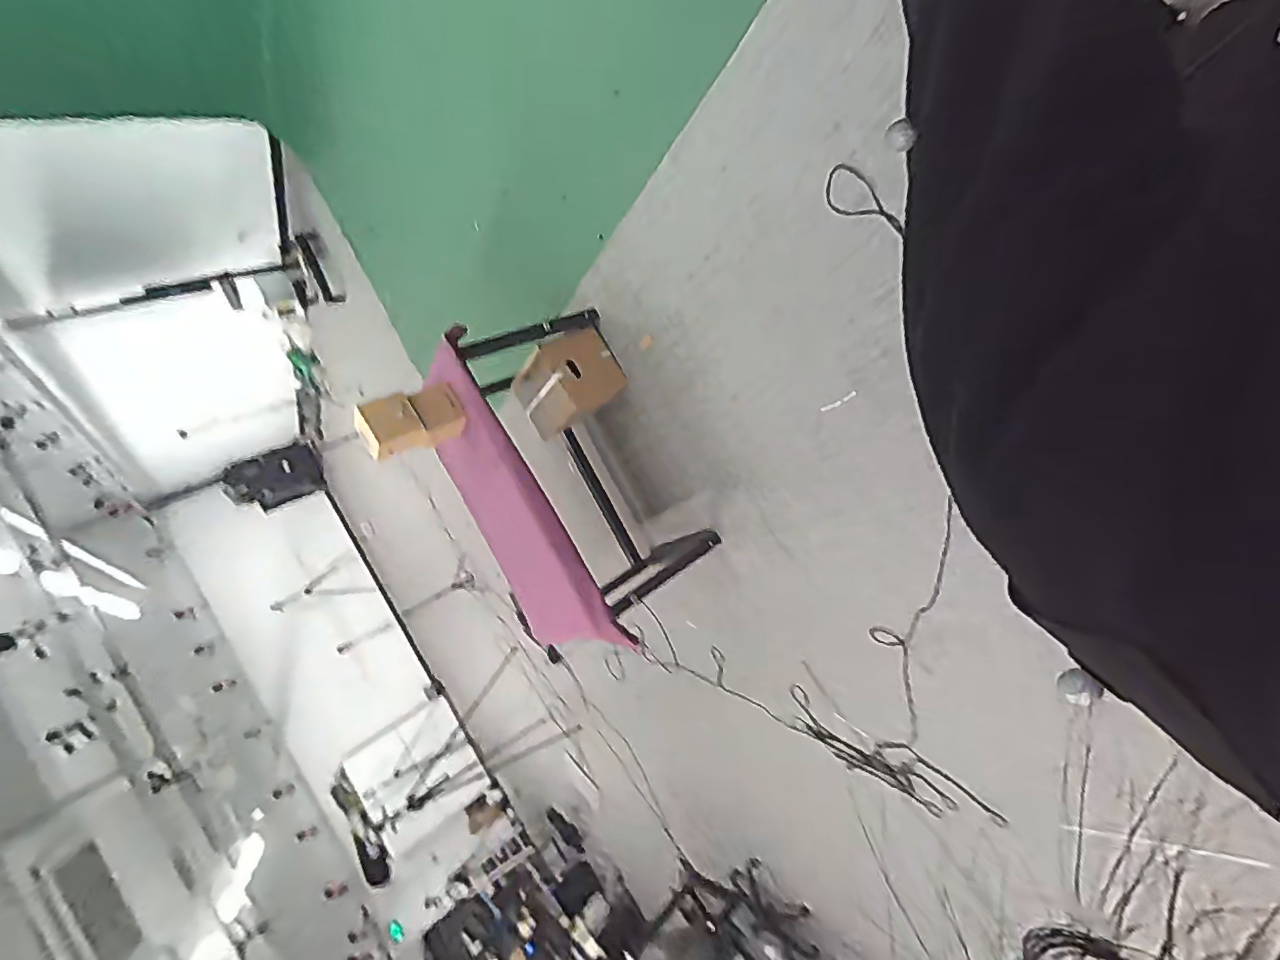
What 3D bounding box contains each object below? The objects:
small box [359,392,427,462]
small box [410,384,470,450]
[{"bbox_3d":[-0.891,-0.191,1.950,0.168,0.176,0.179,58,146,2],"label":"small box"},{"bbox_3d":[-0.769,-0.239,2.051,0.168,0.176,0.179,58,147,2],"label":"small box"}]
